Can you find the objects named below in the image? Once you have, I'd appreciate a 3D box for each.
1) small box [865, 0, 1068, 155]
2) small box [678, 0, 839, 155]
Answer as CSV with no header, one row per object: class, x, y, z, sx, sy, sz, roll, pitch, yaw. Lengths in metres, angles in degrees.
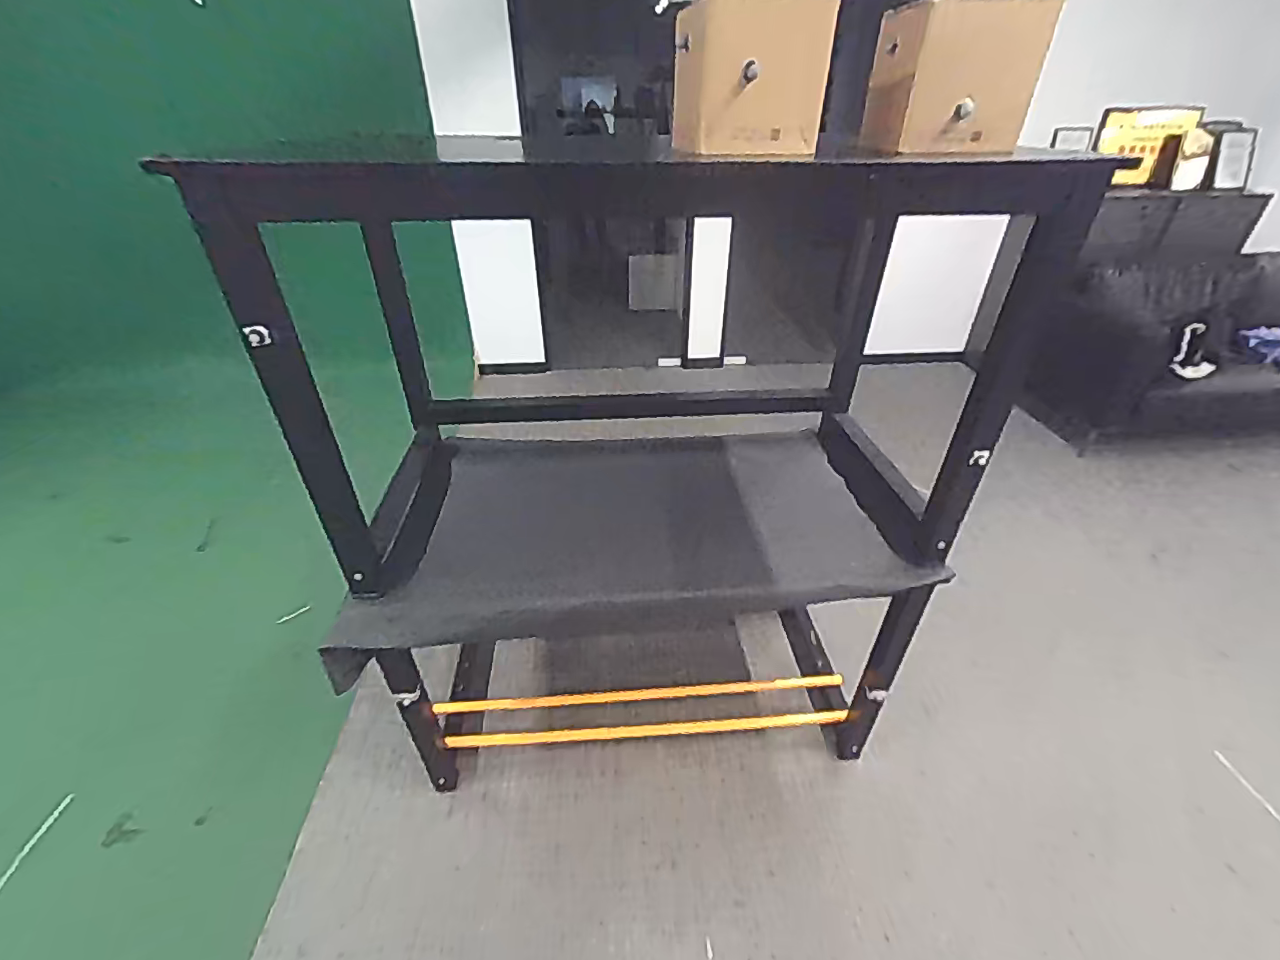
small box,0.442,-0.570,0.772,0.168,0.176,0.179,0,35,1
small box,0.150,-0.552,0.750,0.168,0.176,0.179,-5,34,-8
